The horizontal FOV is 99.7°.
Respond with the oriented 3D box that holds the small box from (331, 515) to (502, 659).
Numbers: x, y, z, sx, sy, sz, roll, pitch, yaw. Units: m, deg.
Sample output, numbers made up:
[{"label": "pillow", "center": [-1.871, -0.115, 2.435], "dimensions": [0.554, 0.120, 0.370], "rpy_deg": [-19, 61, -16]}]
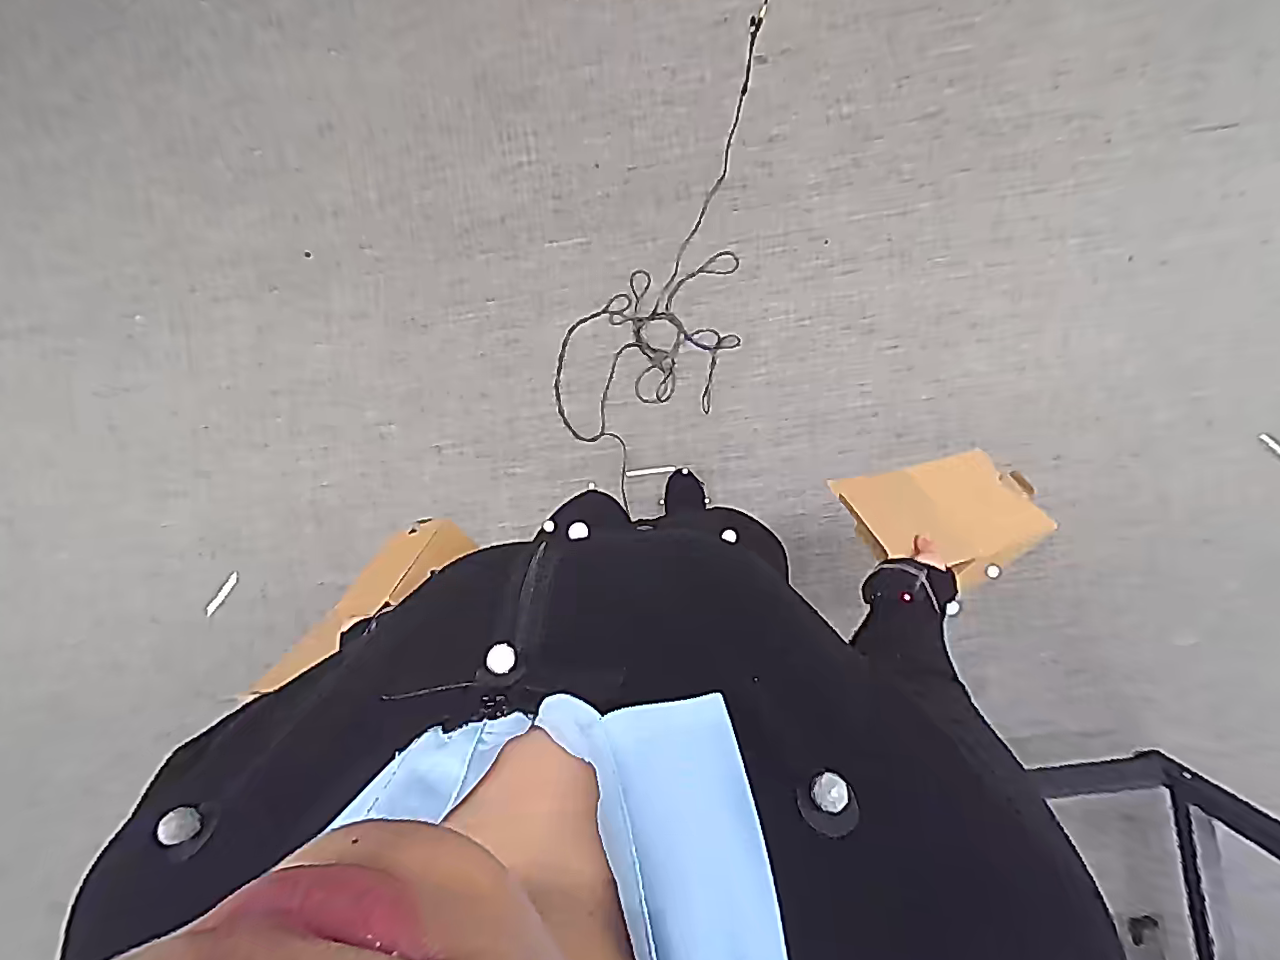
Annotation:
[{"label": "small box", "center": [-0.369, 0.189, 0.922], "dimensions": [0.168, 0.179, 0.176], "rpy_deg": [-14, 127, 33]}]
